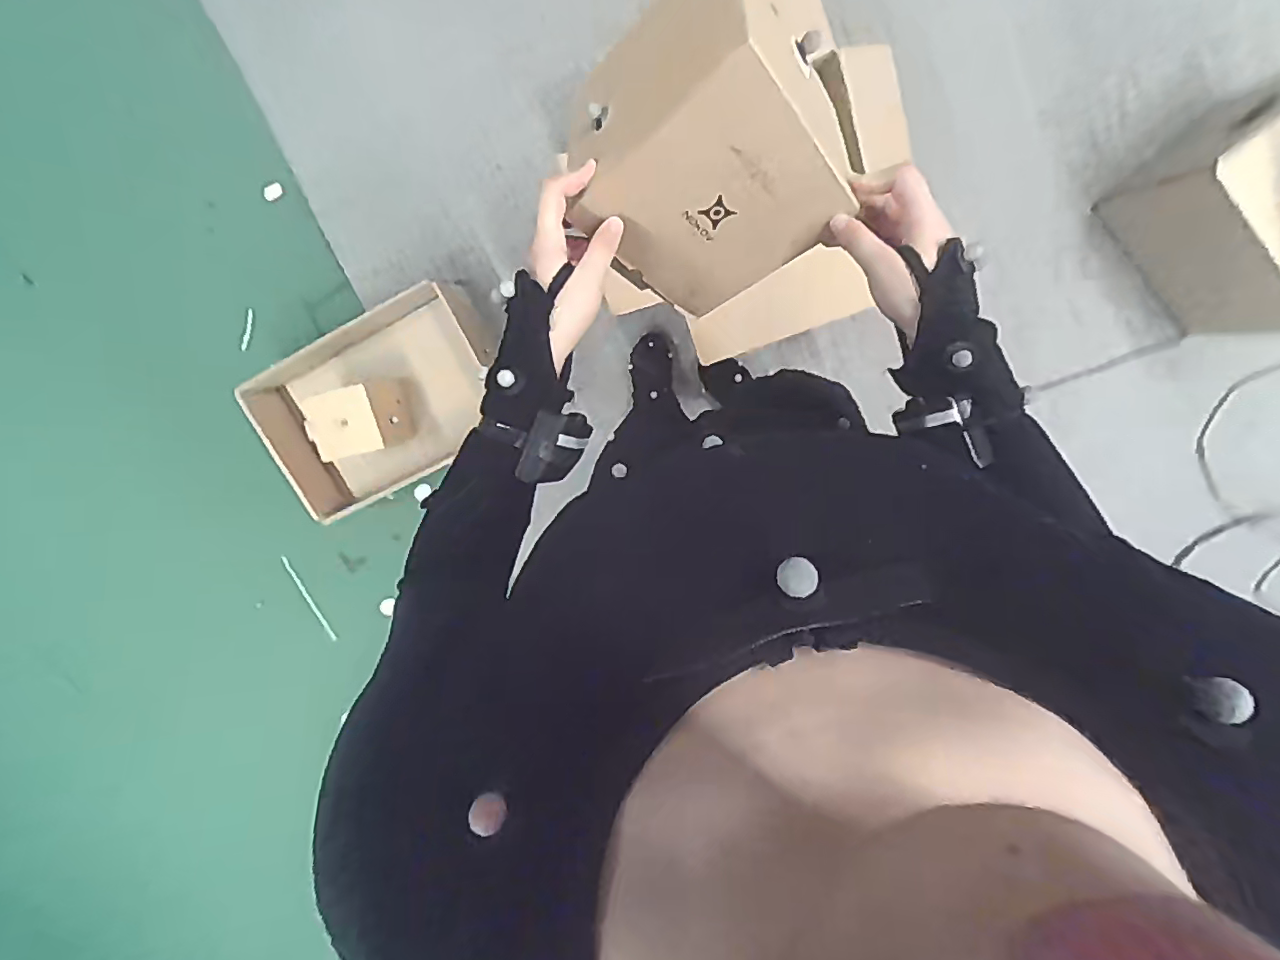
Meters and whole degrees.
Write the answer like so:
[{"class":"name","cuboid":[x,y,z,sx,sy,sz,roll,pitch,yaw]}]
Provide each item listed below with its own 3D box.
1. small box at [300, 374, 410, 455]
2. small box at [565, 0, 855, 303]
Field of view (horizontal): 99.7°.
[{"class":"small box","cuboid":[-0.723,-0.175,1.402,0.179,0.176,0.168,-11,103,7]},{"class":"small box","cuboid":[0.054,-0.298,0.467,0.179,0.176,0.168,-26,146,37]}]
